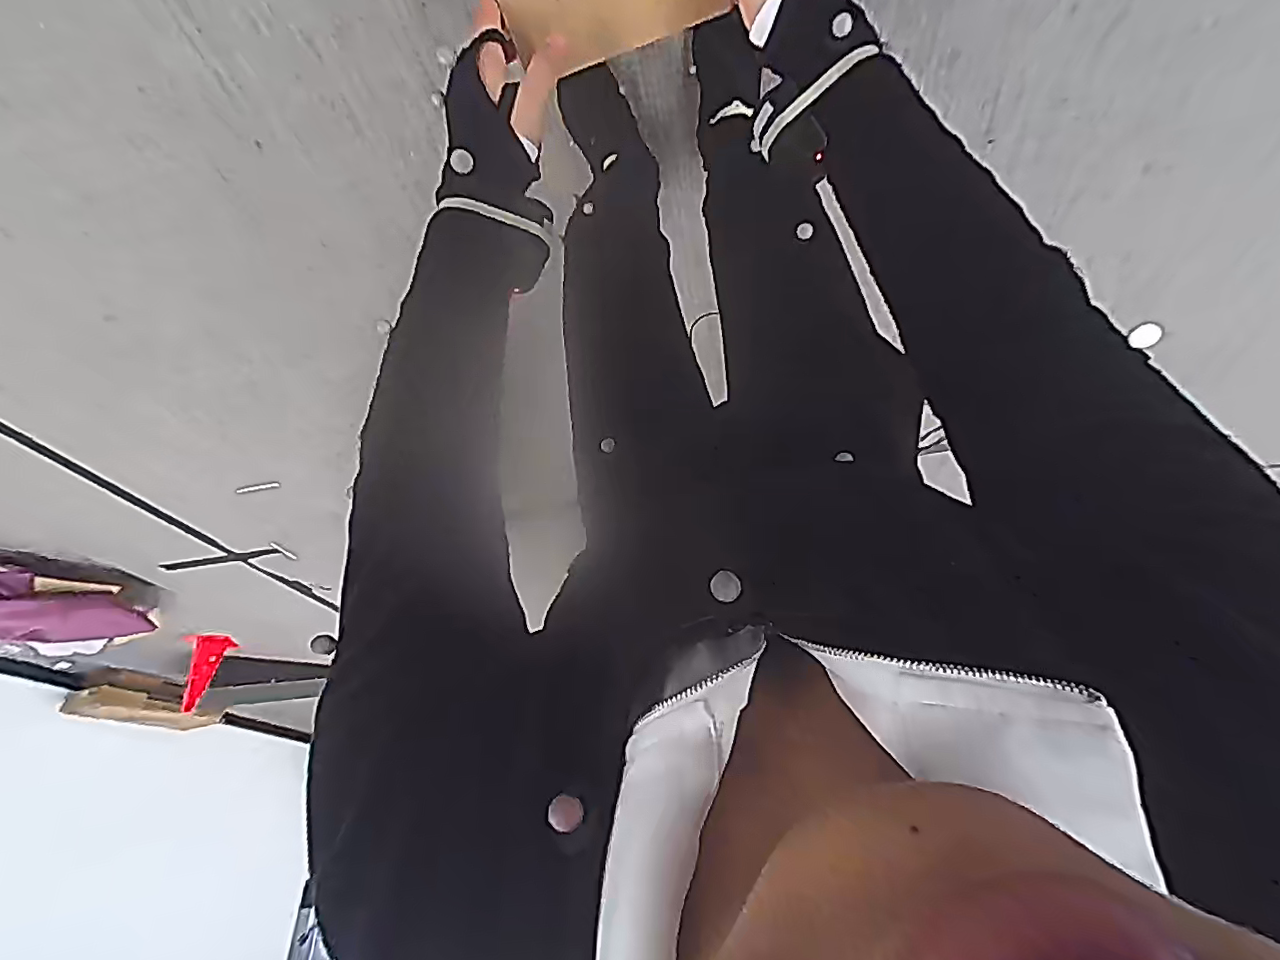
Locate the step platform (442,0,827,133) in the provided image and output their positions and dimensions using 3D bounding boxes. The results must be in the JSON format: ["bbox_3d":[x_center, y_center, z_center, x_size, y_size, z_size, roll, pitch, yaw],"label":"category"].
[{"bbox_3d":[0.126,-0.601,0.519,0.684,0.204,0.286,-11,144,9],"label":"step platform"}]

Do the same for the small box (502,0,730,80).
[{"bbox_3d":[-0.036,-0.469,0.429,0.179,0.176,0.168,-12,142,13],"label":"small box"}]
